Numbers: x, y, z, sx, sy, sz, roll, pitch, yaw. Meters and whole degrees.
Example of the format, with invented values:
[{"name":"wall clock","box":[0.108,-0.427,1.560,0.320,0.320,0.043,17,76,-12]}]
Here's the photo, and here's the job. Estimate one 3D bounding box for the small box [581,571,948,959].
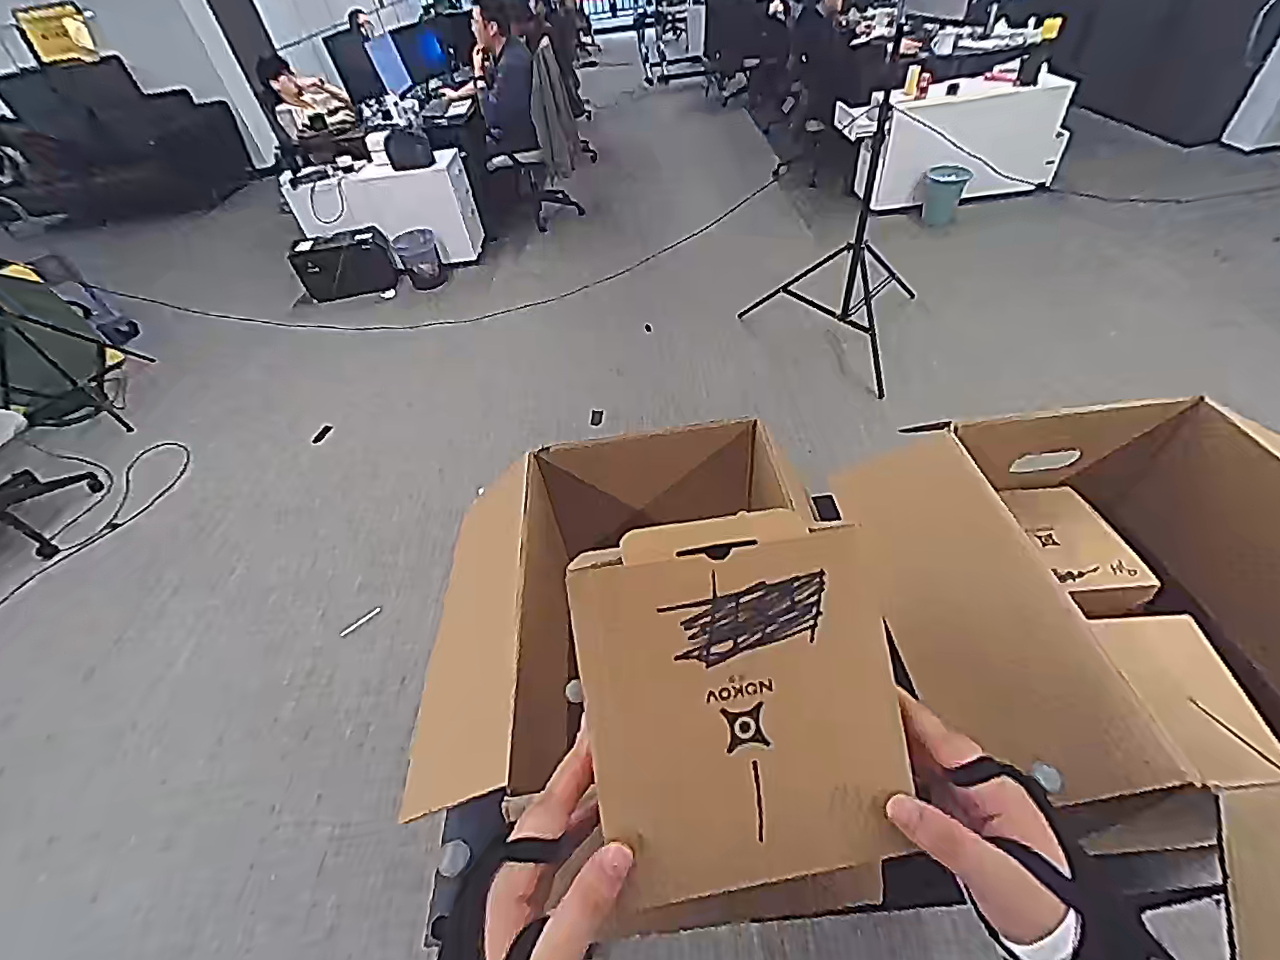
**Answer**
[{"name":"small box","box":[0.055,0.157,0.347,0.168,0.176,0.179,-8,86,-4]}]
